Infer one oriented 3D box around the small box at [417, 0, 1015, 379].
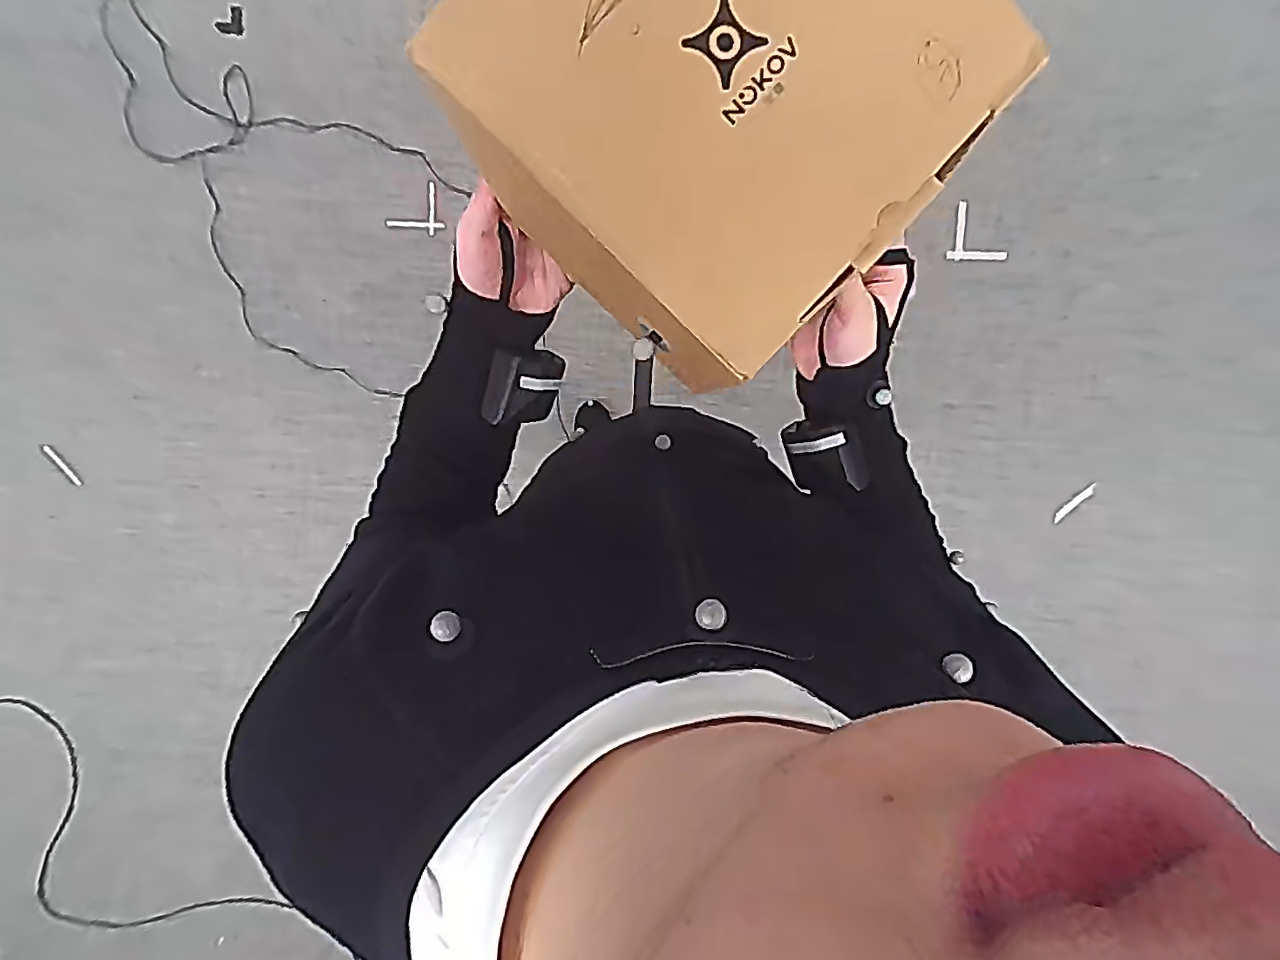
[{"bbox_3d":[0.030,-0.170,0.288,0.179,0.176,0.168,42,94,-5],"label":"small box"}]
